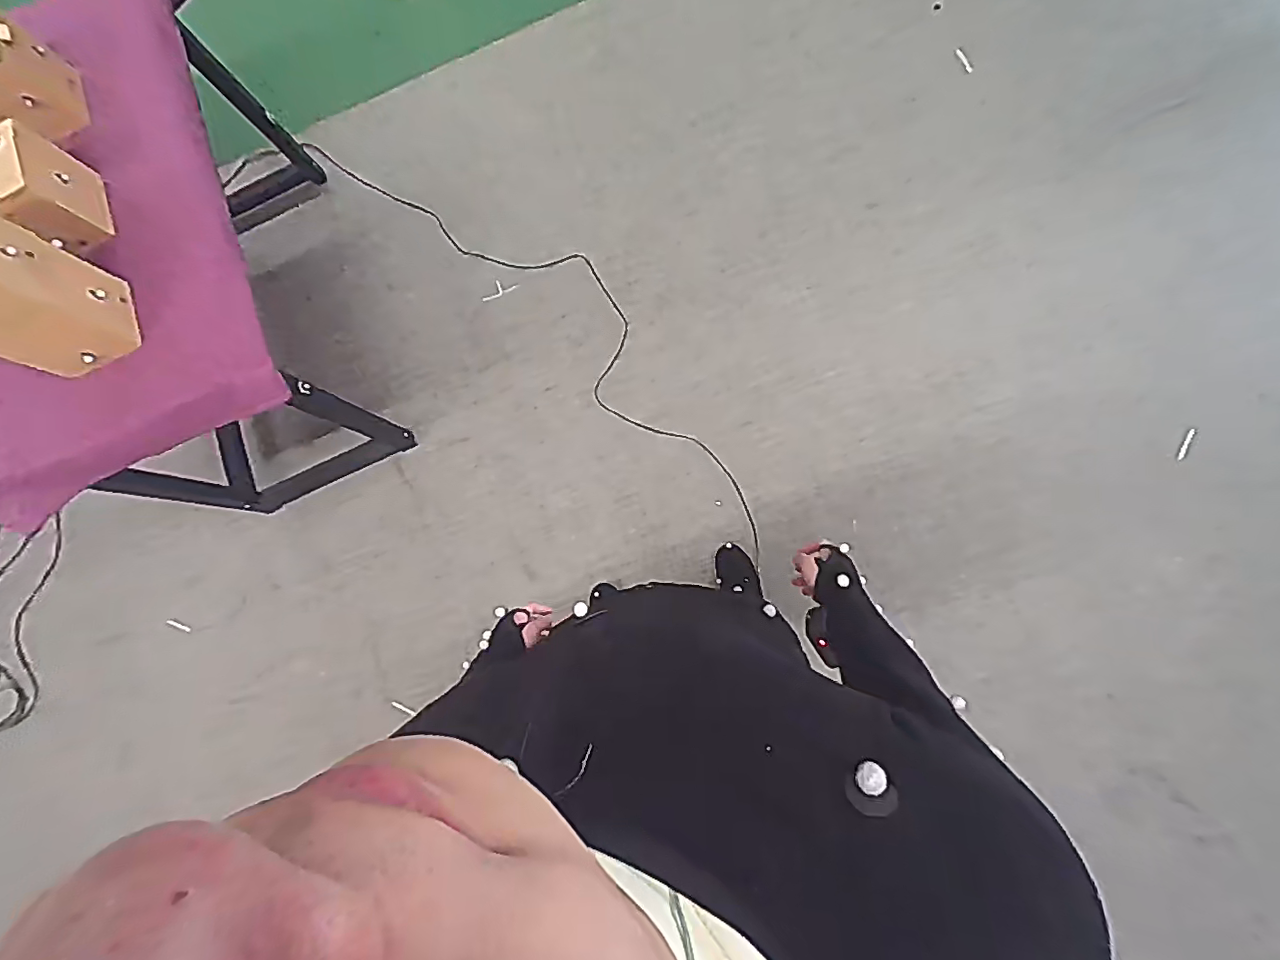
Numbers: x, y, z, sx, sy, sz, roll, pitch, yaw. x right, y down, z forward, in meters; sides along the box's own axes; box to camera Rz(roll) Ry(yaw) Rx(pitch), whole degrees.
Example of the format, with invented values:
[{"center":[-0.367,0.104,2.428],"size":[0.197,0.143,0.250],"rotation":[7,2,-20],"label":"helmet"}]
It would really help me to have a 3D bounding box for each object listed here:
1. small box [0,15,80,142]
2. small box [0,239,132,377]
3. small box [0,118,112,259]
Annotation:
[{"center":[-1.405,-0.883,1.199],"size":[0.179,0.176,0.168],"rotation":[-24,78,3],"label":"small box"},{"center":[-1.168,-0.333,1.077],"size":[0.179,0.176,0.168],"rotation":[-24,78,2],"label":"small box"},{"center":[-1.279,-0.596,1.135],"size":[0.168,0.176,0.179],"rotation":[-25,79,3],"label":"small box"}]
